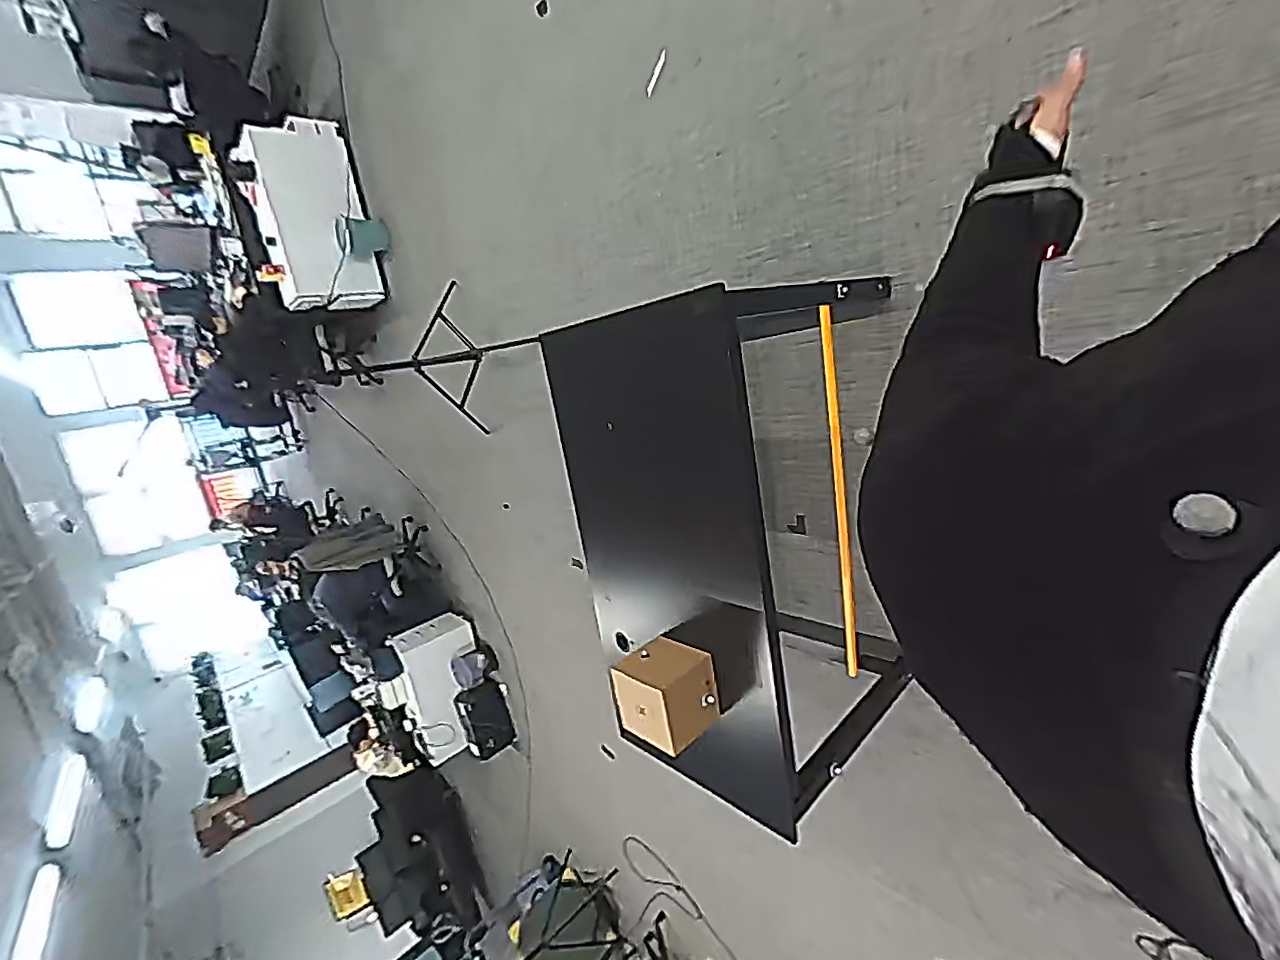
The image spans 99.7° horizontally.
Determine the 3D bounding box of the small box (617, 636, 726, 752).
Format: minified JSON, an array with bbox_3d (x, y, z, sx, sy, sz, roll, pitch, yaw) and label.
[{"bbox_3d":[0.075,0.488,1.266,0.179,0.176,0.168,2,108,49],"label":"small box"}]
